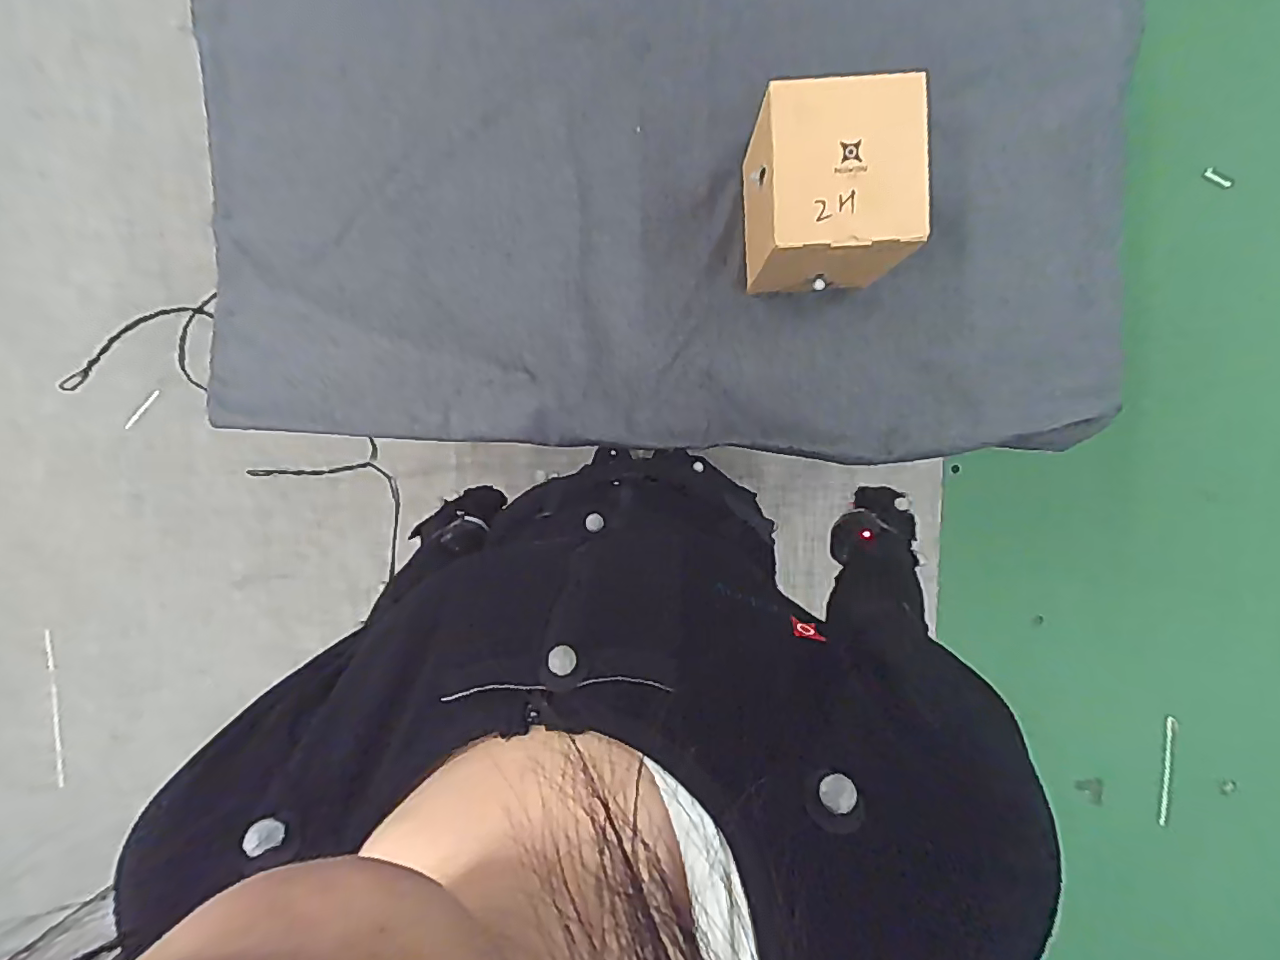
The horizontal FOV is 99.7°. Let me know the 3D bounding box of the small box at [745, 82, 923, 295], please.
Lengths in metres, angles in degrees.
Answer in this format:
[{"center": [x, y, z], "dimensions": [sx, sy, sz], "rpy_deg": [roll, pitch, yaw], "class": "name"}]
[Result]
[{"center": [0.224, -0.341, 0.663], "dimensions": [0.168, 0.176, 0.179], "rpy_deg": [-2, 93, 2], "class": "small box"}]
